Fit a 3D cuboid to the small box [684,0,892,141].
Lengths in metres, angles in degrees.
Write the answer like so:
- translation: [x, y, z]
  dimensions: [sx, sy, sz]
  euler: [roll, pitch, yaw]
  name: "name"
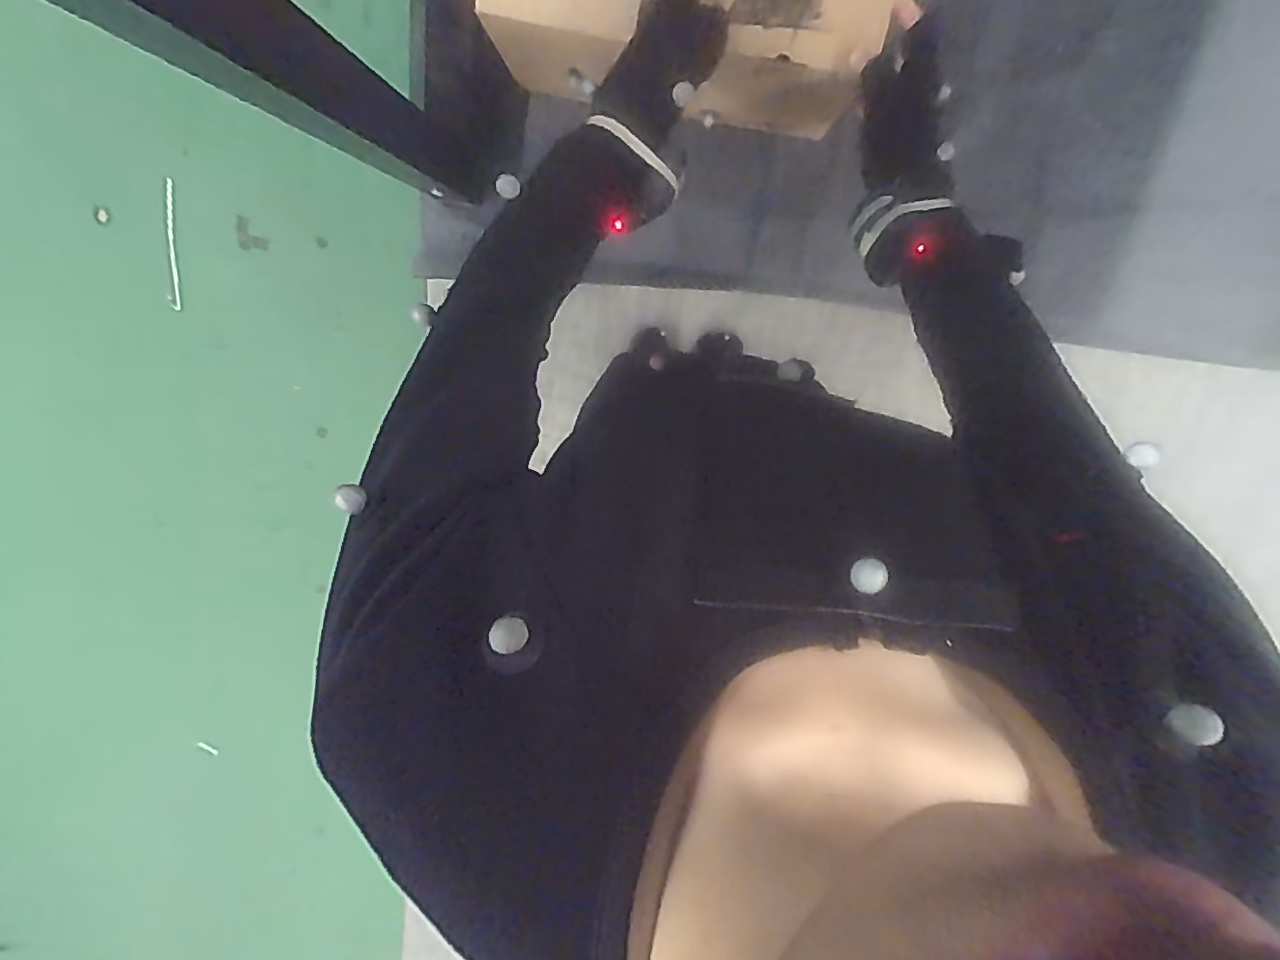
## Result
- translation: [0.137, -0.453, 0.516]
  dimensions: [0.168, 0.176, 0.179]
  euler: [9, 106, 0]
  name: "small box"
